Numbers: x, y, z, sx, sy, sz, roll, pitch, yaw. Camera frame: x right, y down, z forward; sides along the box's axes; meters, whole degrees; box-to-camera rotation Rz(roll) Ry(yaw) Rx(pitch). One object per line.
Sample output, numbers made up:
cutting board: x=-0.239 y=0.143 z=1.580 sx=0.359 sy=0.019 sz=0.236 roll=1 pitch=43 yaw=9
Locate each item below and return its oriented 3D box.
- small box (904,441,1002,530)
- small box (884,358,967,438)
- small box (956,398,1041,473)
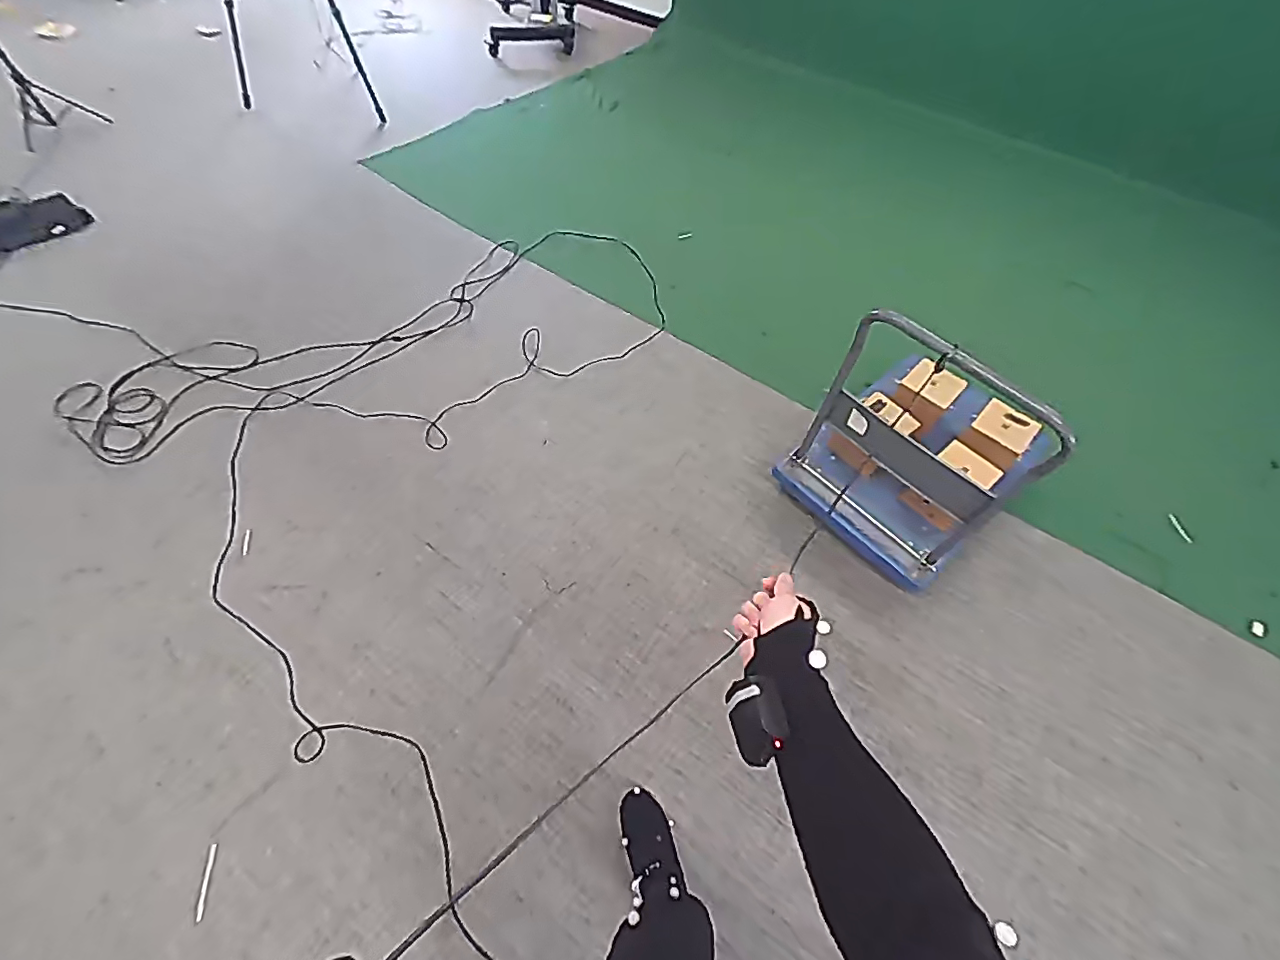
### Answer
small box: x=0.951 y=0.018 z=1.661 sx=0.179 sy=0.176 sz=0.168 roll=-35 pitch=65 yaw=-24
small box: x=0.971 y=-0.277 z=1.861 sx=0.168 sy=0.176 sz=0.179 roll=41 pitch=62 yaw=20
small box: x=1.152 y=-0.127 z=1.771 sx=0.168 sy=0.176 sz=0.179 roll=40 pitch=63 yaw=22
